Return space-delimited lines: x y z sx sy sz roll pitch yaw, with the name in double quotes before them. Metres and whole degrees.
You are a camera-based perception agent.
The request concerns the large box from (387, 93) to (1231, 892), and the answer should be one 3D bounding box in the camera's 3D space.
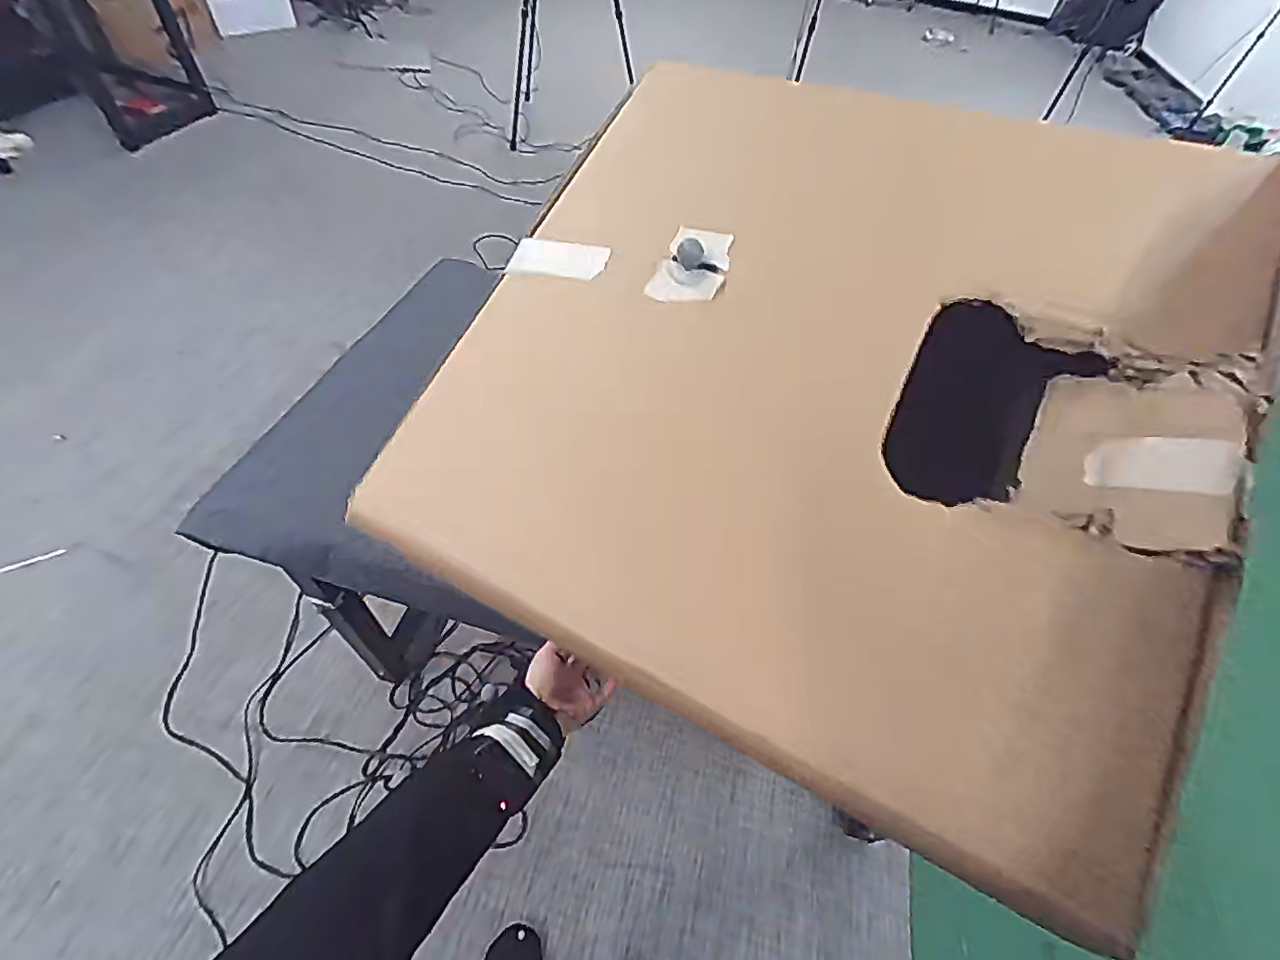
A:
"large box" 0.101 0.012 0.428 0.320 0.408 0.320 23 75 16
